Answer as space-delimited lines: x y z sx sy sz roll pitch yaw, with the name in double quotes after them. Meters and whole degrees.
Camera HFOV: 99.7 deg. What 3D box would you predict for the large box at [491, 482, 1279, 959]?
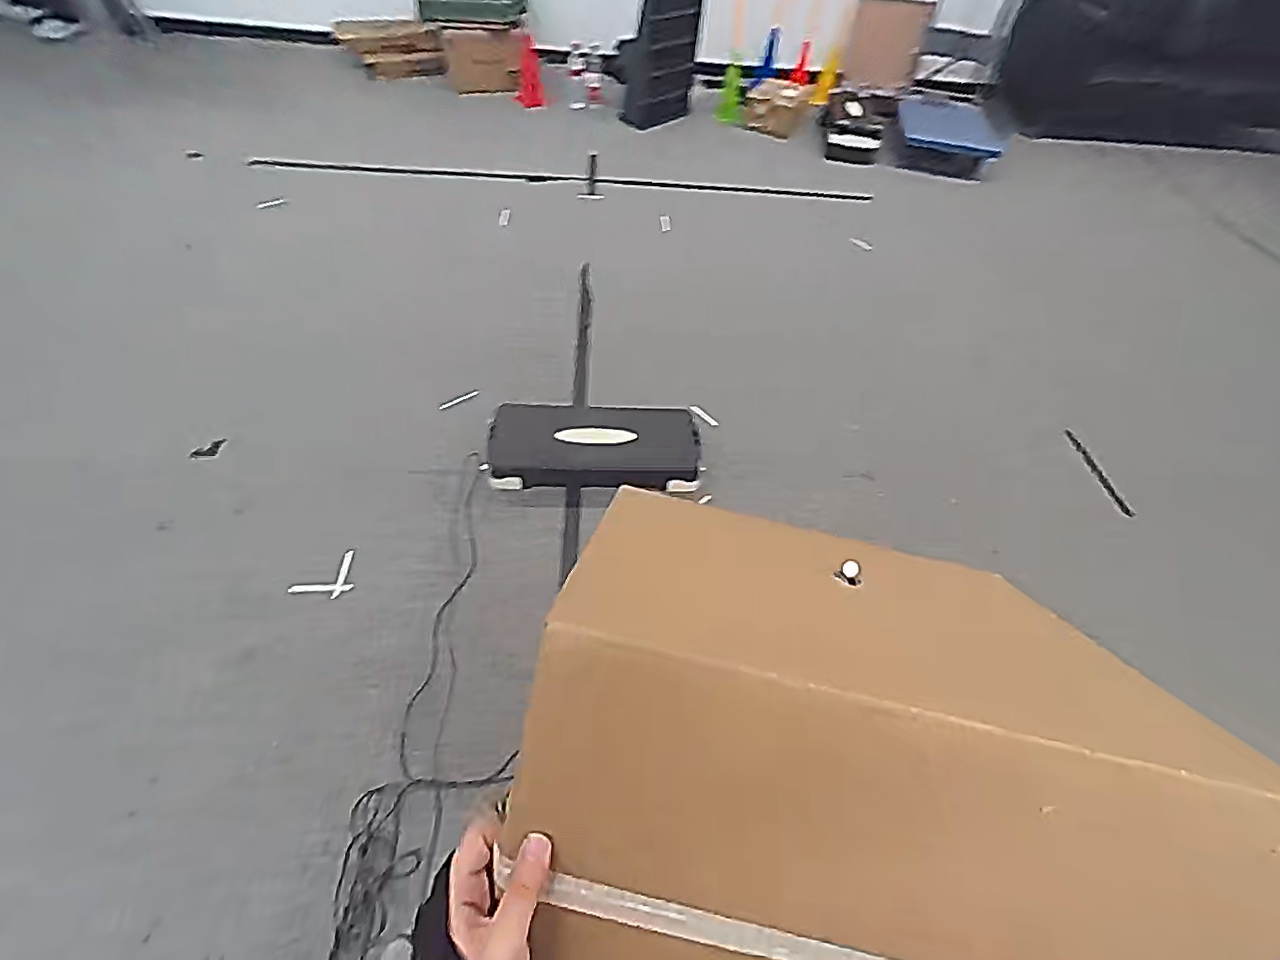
0.129 0.210 0.443 0.408 0.320 0.320 12 14 1 "large box"
